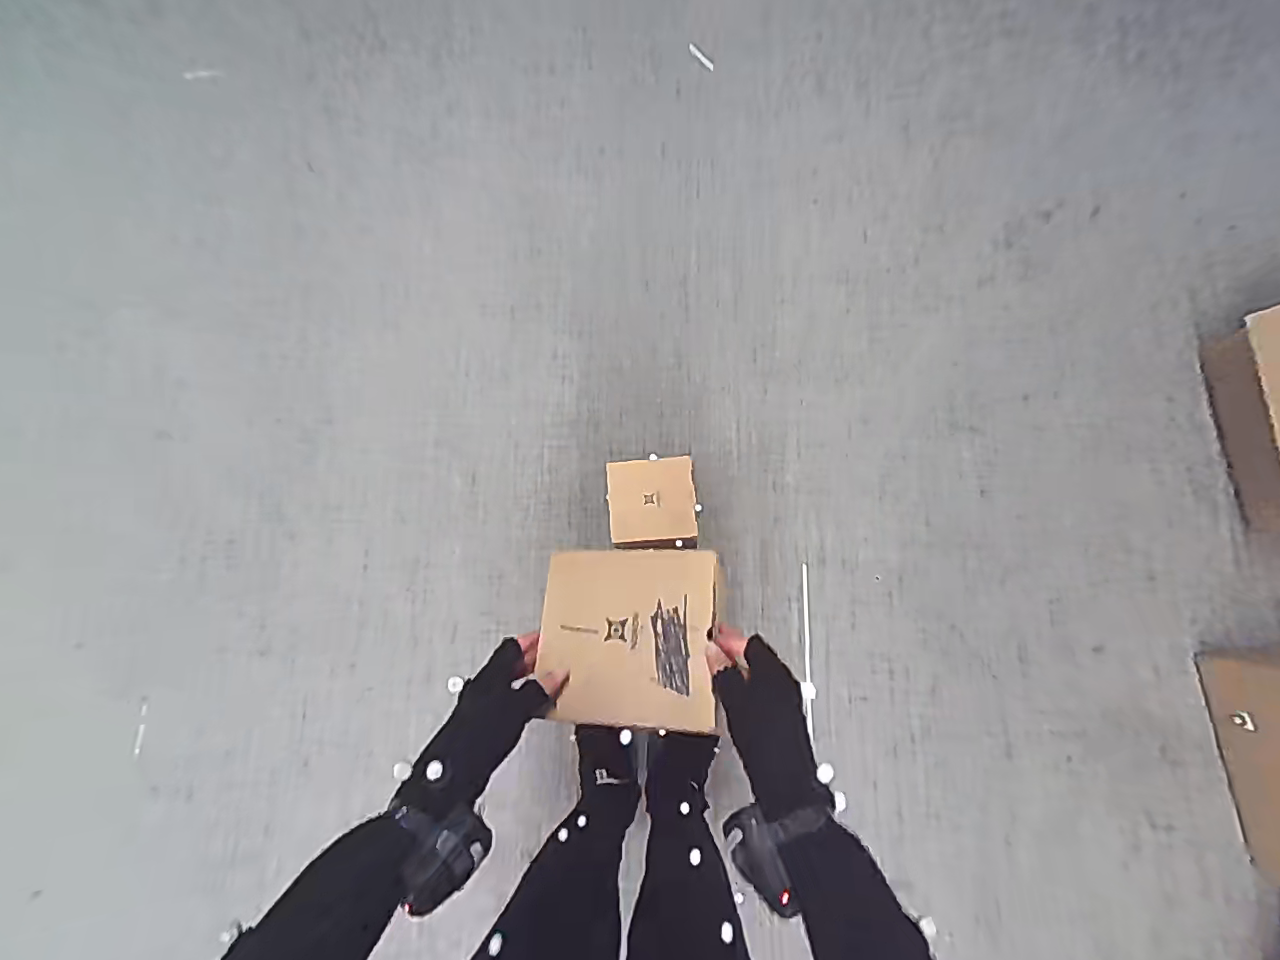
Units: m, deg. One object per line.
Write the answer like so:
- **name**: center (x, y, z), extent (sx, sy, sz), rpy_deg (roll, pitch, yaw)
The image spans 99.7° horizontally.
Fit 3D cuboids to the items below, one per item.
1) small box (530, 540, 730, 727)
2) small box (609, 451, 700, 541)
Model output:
- **small box**: center (0.005, 0.168, 0.580), extent (0.179, 0.176, 0.168), rpy_deg (-2, 65, 13)
- **small box**: center (0.036, 0.040, 1.160), extent (0.179, 0.176, 0.168), rpy_deg (-5, 80, 4)
